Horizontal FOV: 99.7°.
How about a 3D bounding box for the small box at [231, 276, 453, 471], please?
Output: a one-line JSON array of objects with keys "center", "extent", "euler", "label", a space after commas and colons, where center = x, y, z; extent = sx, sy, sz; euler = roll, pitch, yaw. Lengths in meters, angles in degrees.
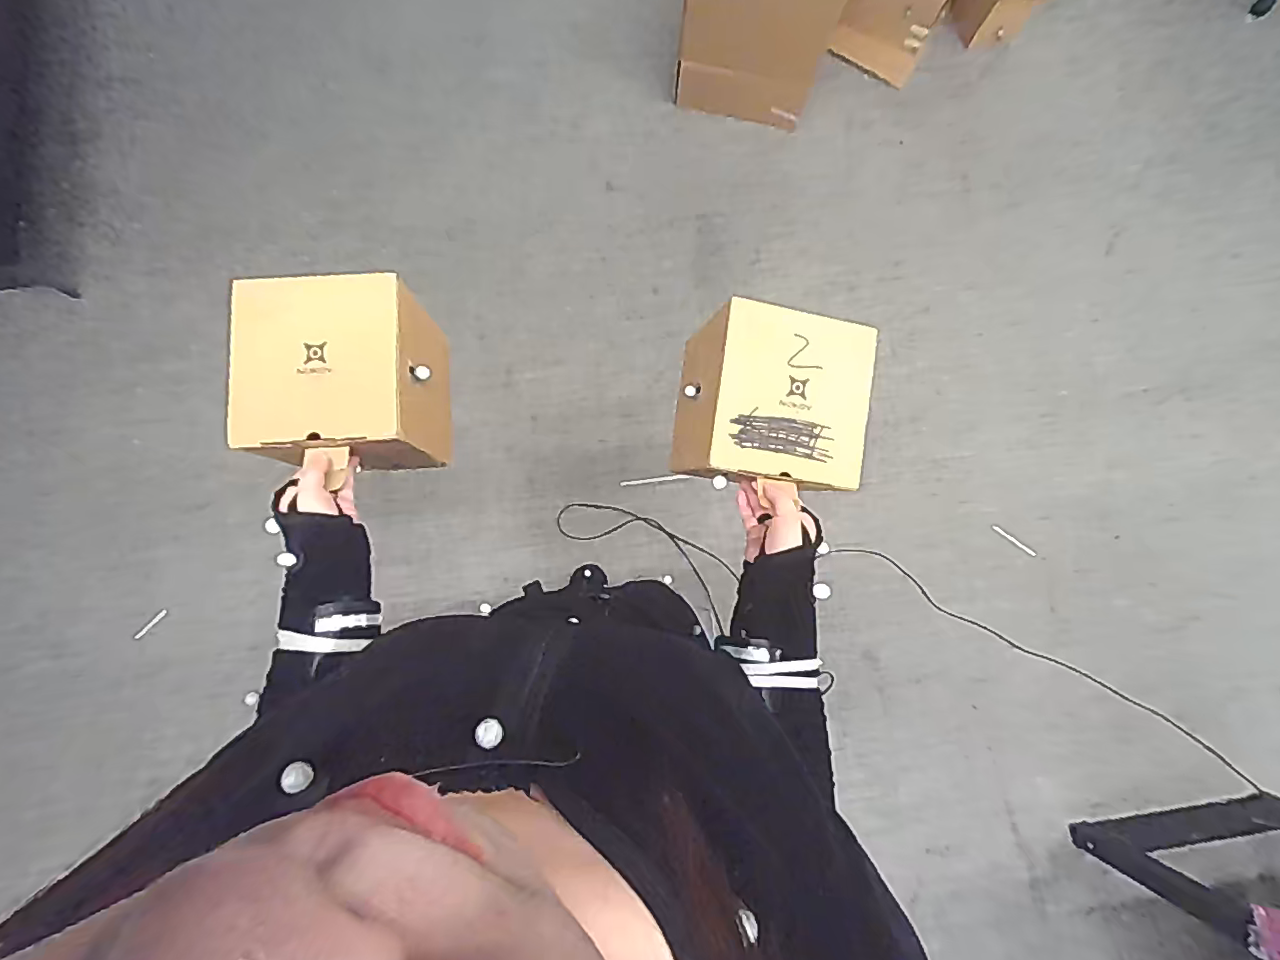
[{"center": [-0.322, -0.110, 0.618], "extent": [0.168, 0.176, 0.179], "euler": [-3, 83, -3], "label": "small box"}]
